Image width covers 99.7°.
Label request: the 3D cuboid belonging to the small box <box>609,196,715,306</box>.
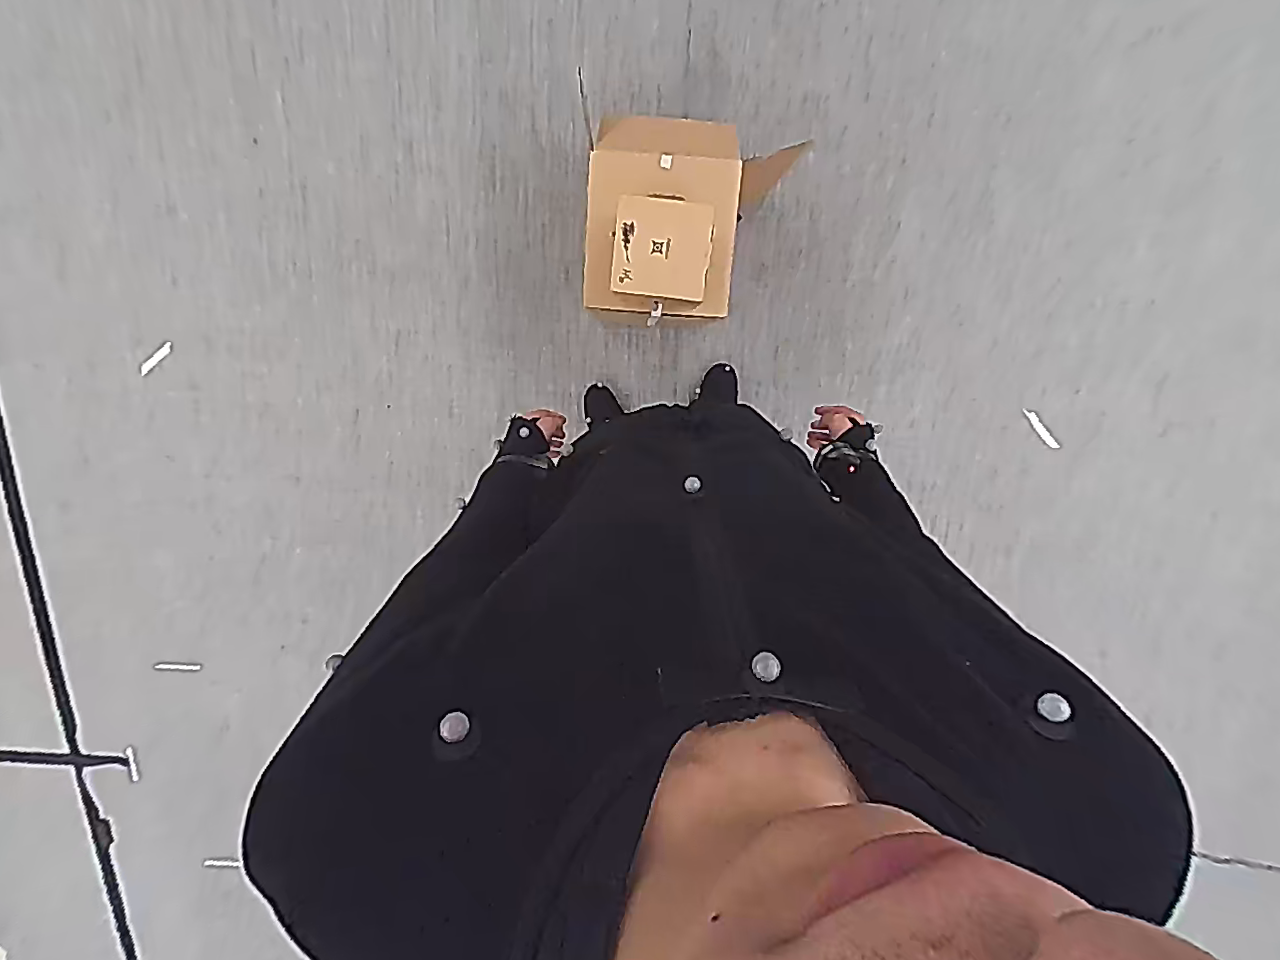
[{"bbox_3d":[0.038,-0.439,1.061,0.179,0.176,0.168,7,105,-2],"label":"small box"}]
